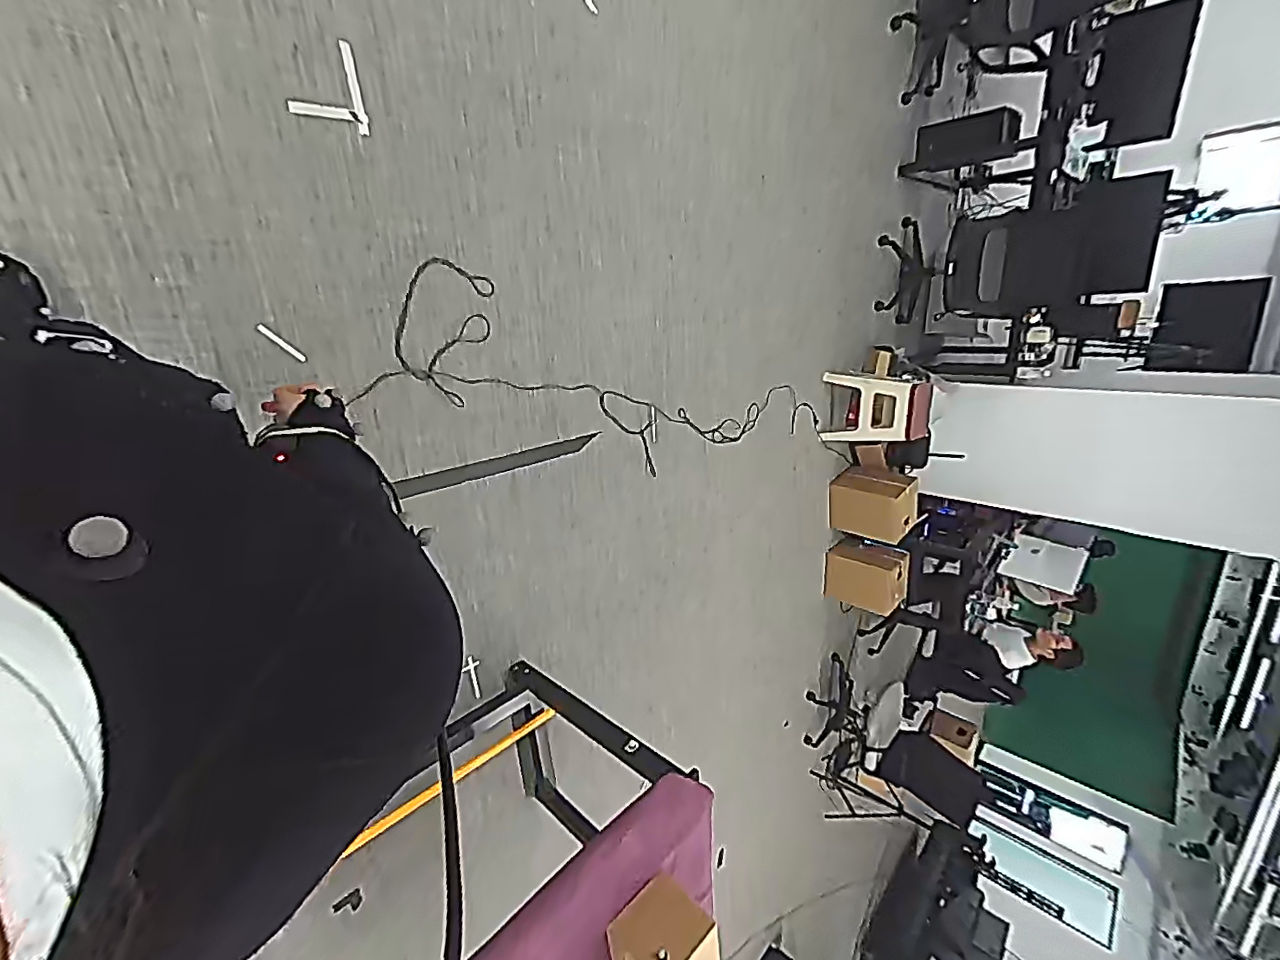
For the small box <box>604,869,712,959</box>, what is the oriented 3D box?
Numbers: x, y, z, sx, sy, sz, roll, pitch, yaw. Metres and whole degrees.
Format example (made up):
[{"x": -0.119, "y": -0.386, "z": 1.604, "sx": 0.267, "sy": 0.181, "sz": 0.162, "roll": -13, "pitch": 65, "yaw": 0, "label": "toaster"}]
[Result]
[{"x": 0.035, "y": 1.017, "z": 1.180, "sx": 0.179, "sy": 0.176, "sz": 0.168, "roll": -22, "pitch": 116, "yaw": -39, "label": "small box"}]
